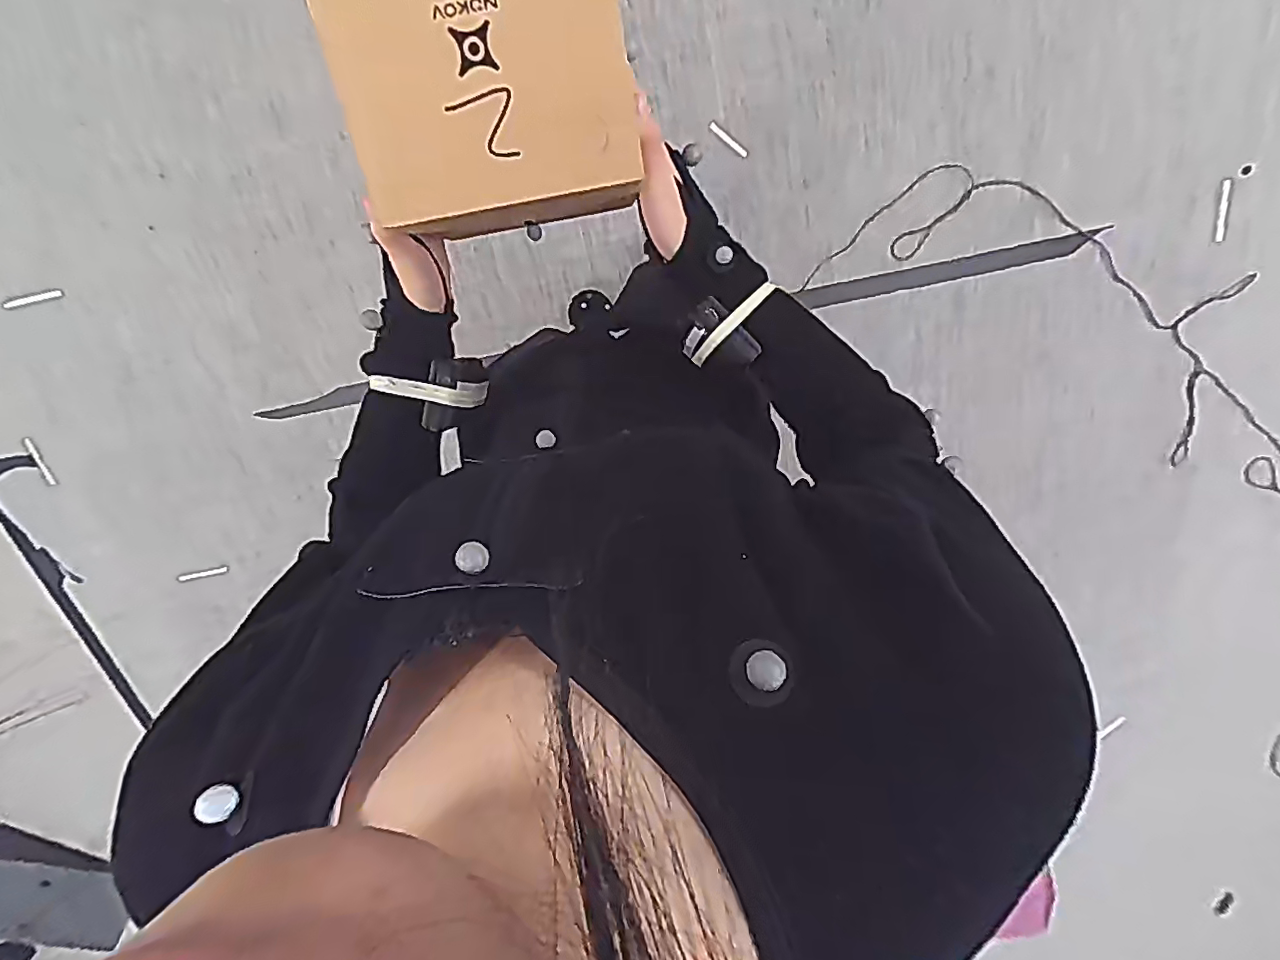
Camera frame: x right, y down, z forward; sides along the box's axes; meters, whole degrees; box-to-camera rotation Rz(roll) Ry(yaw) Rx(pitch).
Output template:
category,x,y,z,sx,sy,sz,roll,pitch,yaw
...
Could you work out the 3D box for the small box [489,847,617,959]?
category,x,y,z,sx,sy,sz,roll,pitch,yaw
small box,-0.139,0.779,0.935,0.179,0.176,0.168,-10,110,2
